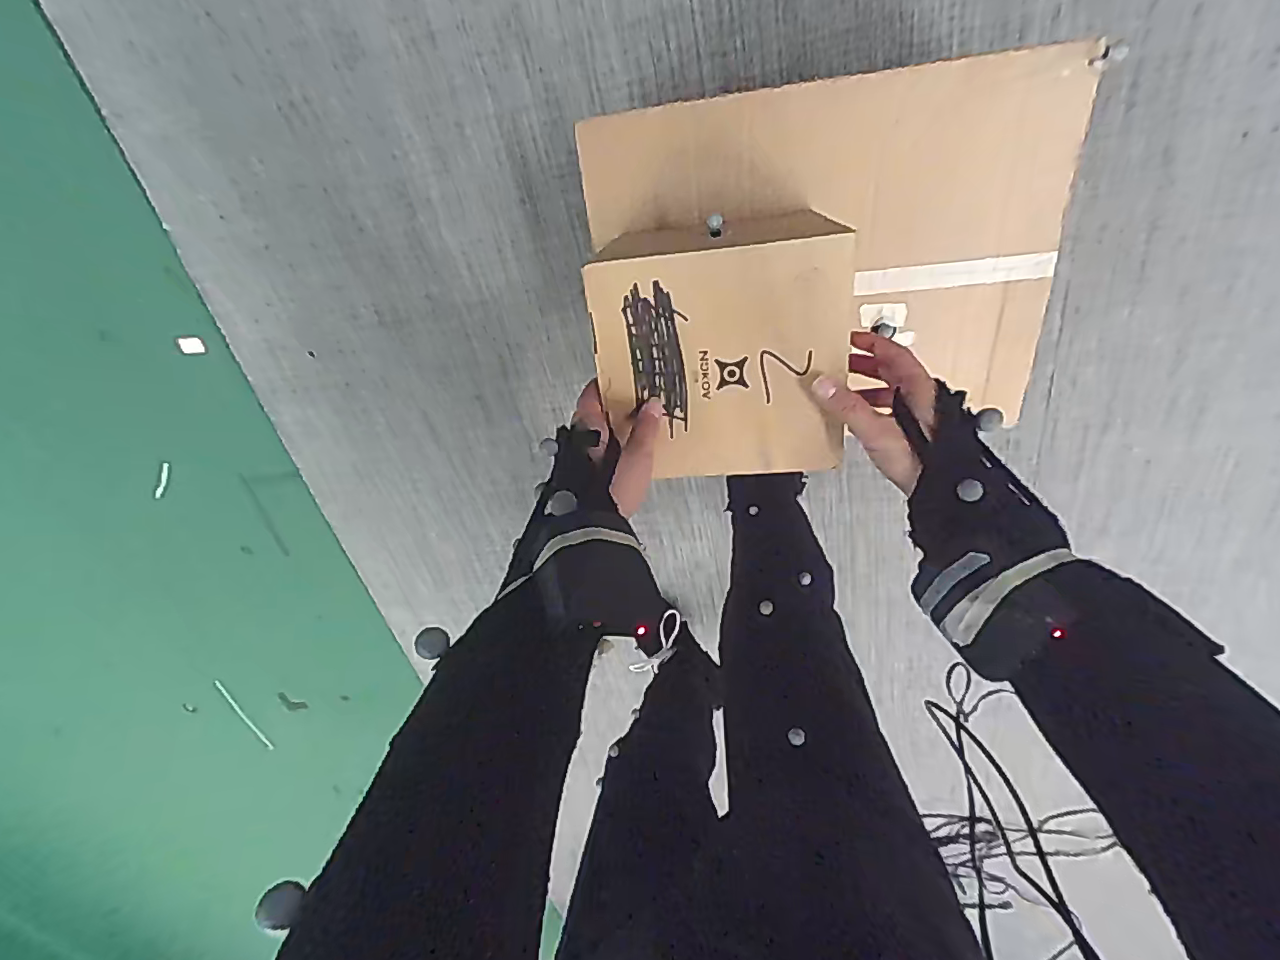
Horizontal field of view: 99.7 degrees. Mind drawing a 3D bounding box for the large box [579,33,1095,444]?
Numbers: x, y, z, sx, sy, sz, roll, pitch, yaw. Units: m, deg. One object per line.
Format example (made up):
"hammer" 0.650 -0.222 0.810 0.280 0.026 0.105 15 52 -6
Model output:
"large box" 0.177 -0.258 0.629 0.408 0.320 0.320 -3 121 9
